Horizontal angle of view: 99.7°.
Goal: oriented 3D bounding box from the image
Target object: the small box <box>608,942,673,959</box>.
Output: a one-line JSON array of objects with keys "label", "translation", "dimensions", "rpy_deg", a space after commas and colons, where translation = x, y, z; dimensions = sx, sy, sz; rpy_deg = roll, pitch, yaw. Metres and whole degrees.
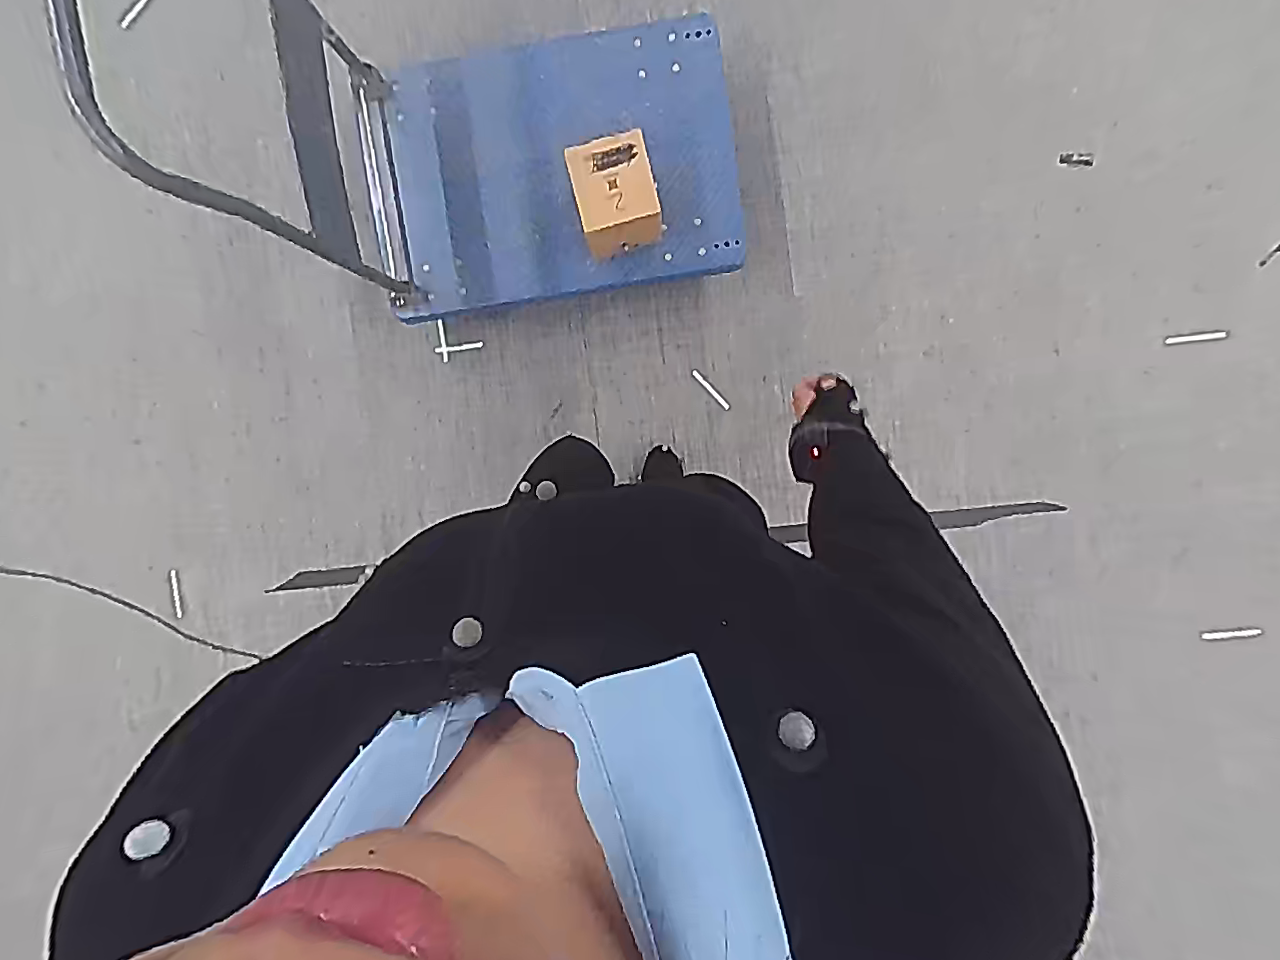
[{"label": "small box", "translation": [0.006, 1.283, 1.315], "dimensions": [0.168, 0.176, 0.179], "rpy_deg": [-6, 93, 2]}]

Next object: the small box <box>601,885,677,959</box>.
[{"label": "small box", "translation": [0.003, 1.268, 1.477], "dimensions": [0.168, 0.176, 0.179], "rpy_deg": [-18, 92, 2]}]
